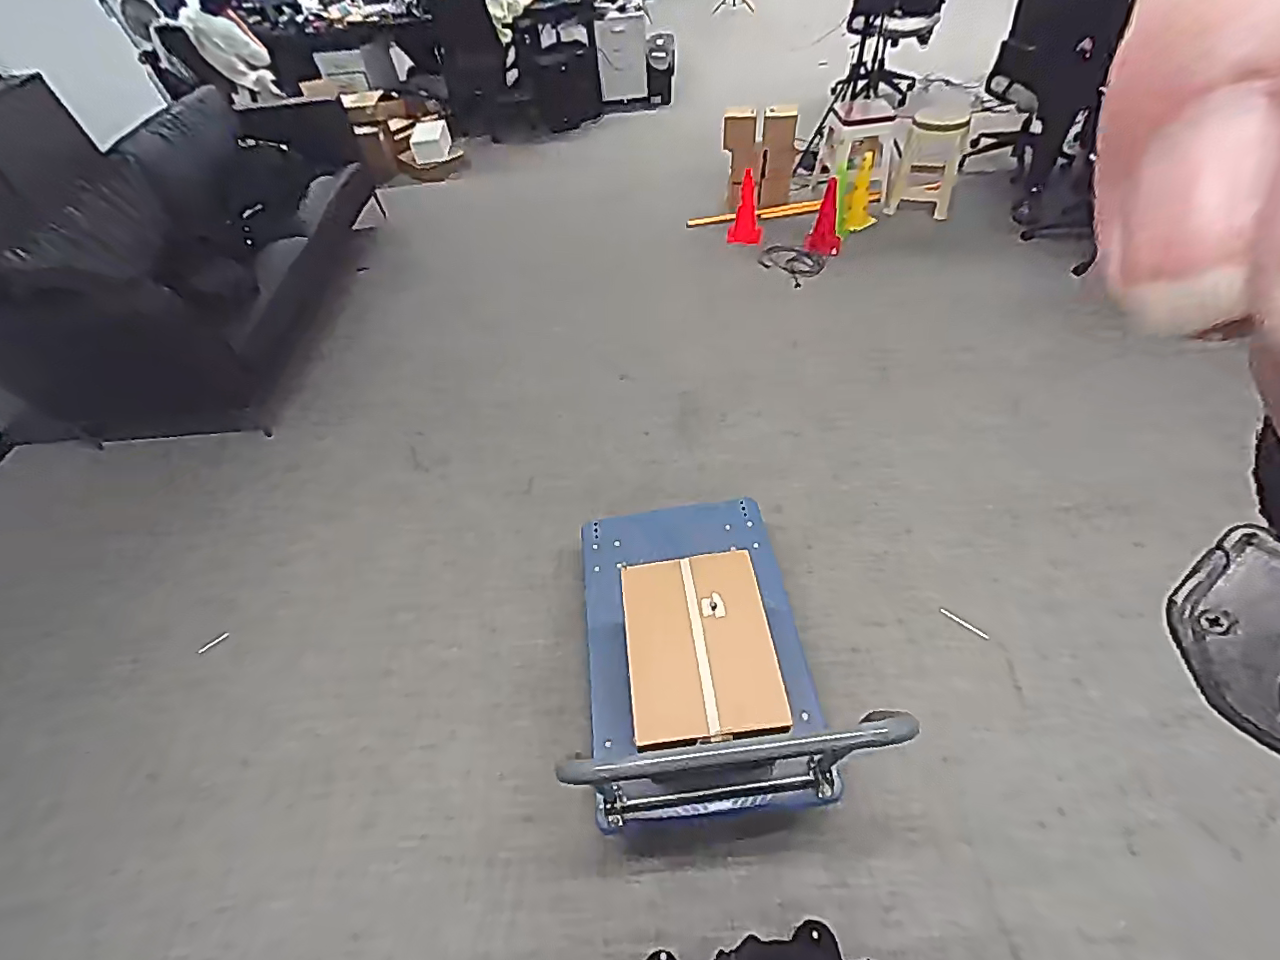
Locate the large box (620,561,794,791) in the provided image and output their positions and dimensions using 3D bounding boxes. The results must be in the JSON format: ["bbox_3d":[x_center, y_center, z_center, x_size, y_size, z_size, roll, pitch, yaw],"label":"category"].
[{"bbox_3d":[0.143,0.462,1.281,0.320,0.320,0.408,-8,49,0],"label":"large box"}]
